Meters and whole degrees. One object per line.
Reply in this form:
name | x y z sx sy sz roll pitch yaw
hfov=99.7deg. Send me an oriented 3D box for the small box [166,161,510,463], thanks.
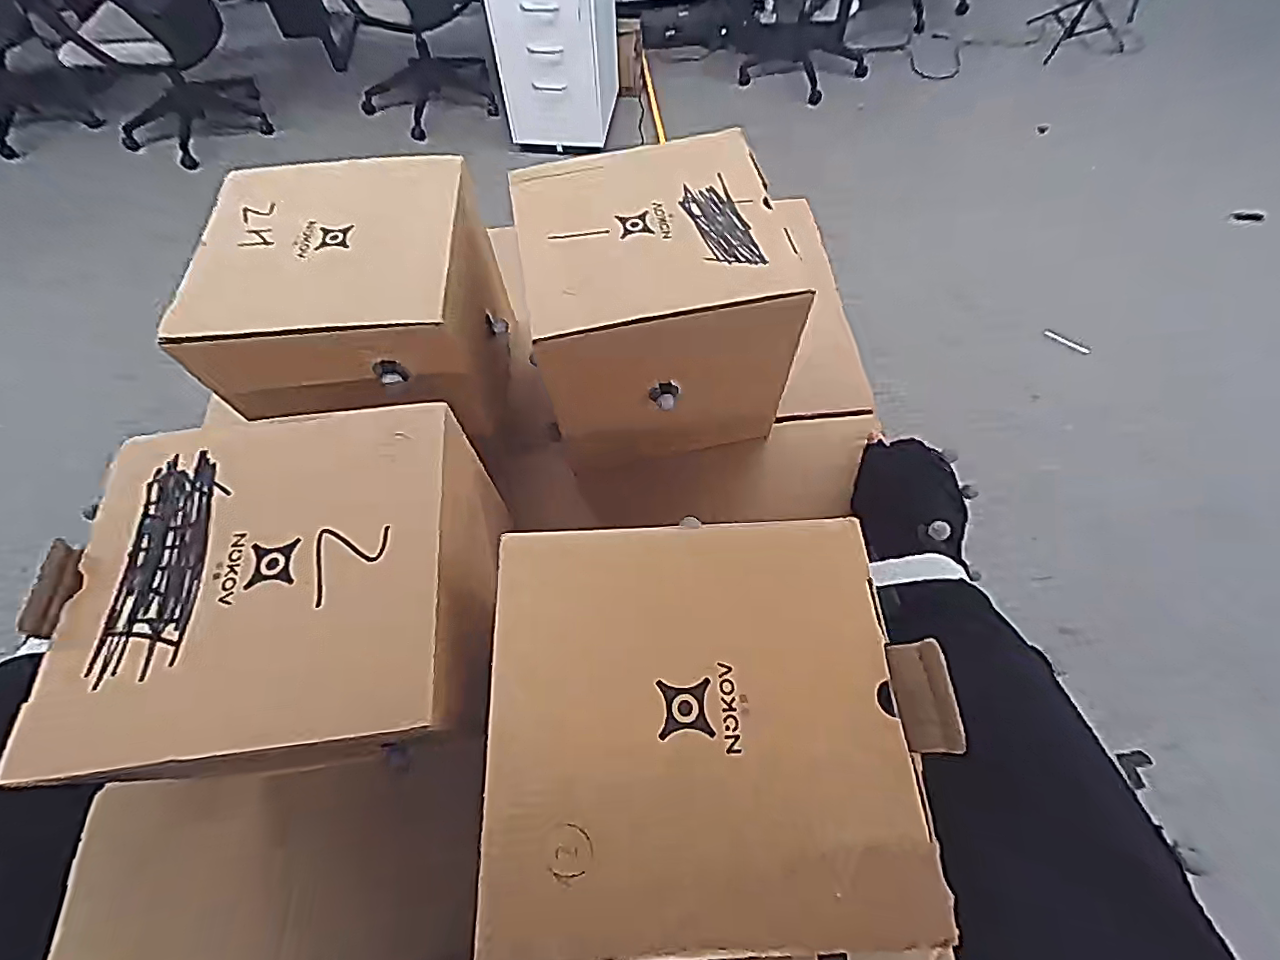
small box | -0.213 -0.127 0.445 0.179 0.176 0.168 -5 62 1
